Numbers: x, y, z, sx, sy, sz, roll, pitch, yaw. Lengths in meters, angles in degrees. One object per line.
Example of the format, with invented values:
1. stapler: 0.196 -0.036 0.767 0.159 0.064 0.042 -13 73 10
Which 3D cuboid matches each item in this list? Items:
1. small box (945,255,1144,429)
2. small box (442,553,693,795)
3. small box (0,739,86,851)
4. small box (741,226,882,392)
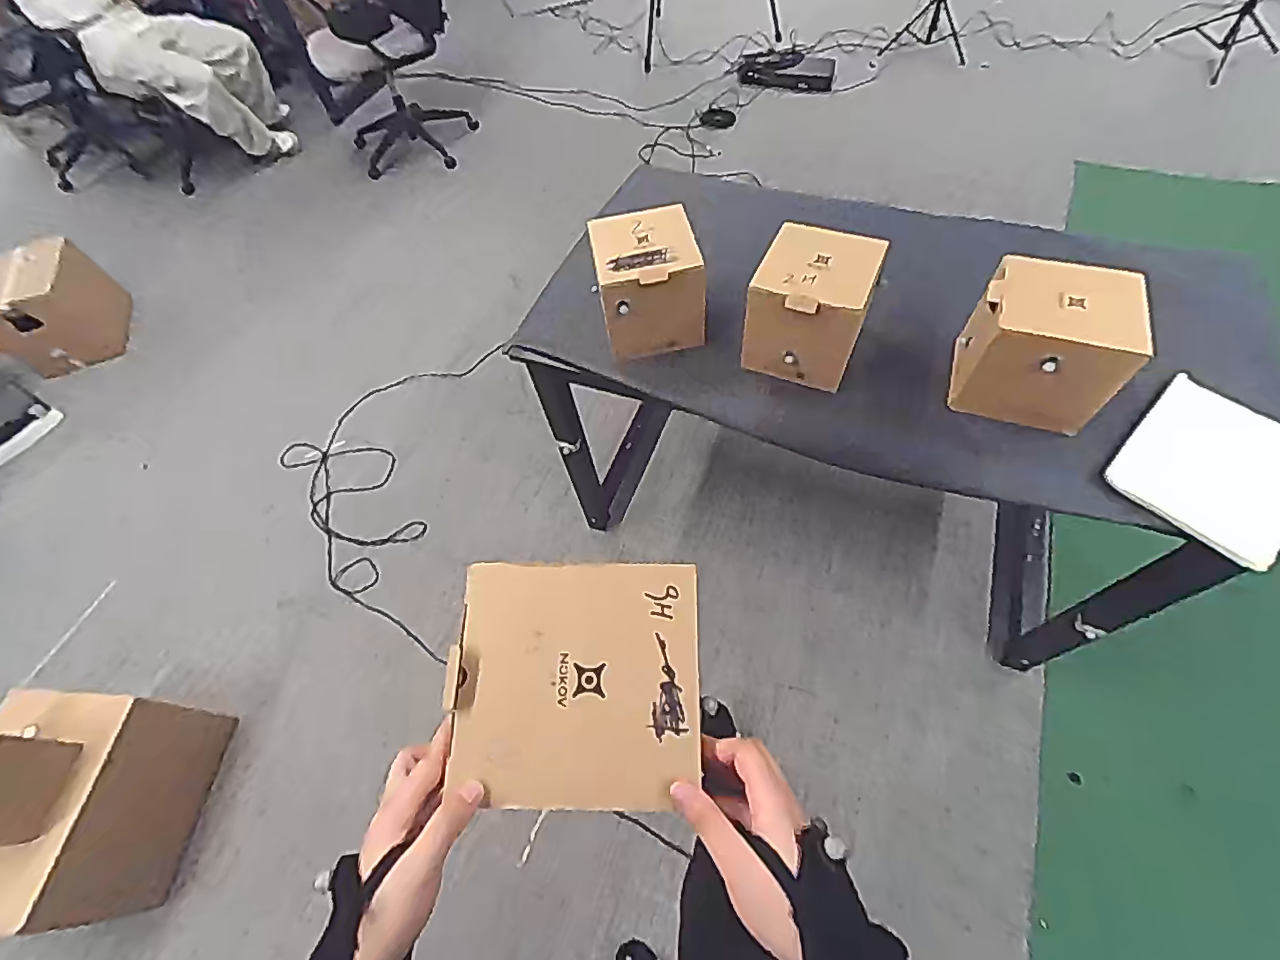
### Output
1. small box: 0.579 -0.197 0.794 0.179 0.176 0.168 15 60 17
2. small box: -0.045 0.161 0.468 0.179 0.176 0.168 0 71 2
3. small box: -1.225 0.588 1.016 0.168 0.176 0.179 2 58 6
4. small box: 0.270 -0.276 0.880 0.168 0.176 0.179 19 61 18
